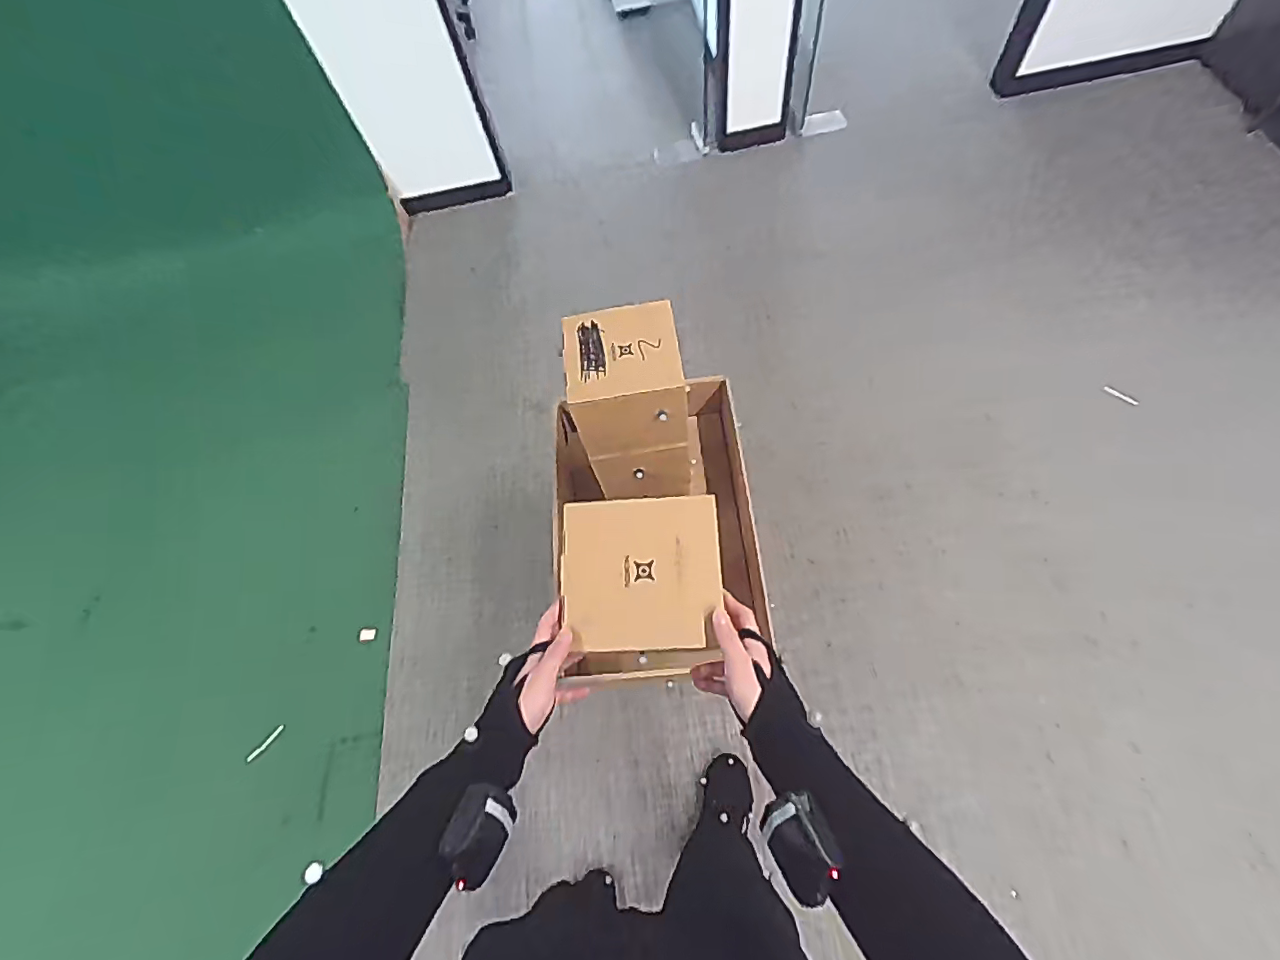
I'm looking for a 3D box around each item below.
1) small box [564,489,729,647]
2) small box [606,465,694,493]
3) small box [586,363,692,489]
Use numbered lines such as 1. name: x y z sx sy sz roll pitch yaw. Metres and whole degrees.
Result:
1. small box: 0.013 0.116 0.660 0.179 0.176 0.168 -3 72 5
2. small box: 0.022 -0.032 1.169 0.179 0.176 0.168 -7 65 4
3. small box: 0.003 -0.095 1.019 0.179 0.176 0.168 -8 65 4
